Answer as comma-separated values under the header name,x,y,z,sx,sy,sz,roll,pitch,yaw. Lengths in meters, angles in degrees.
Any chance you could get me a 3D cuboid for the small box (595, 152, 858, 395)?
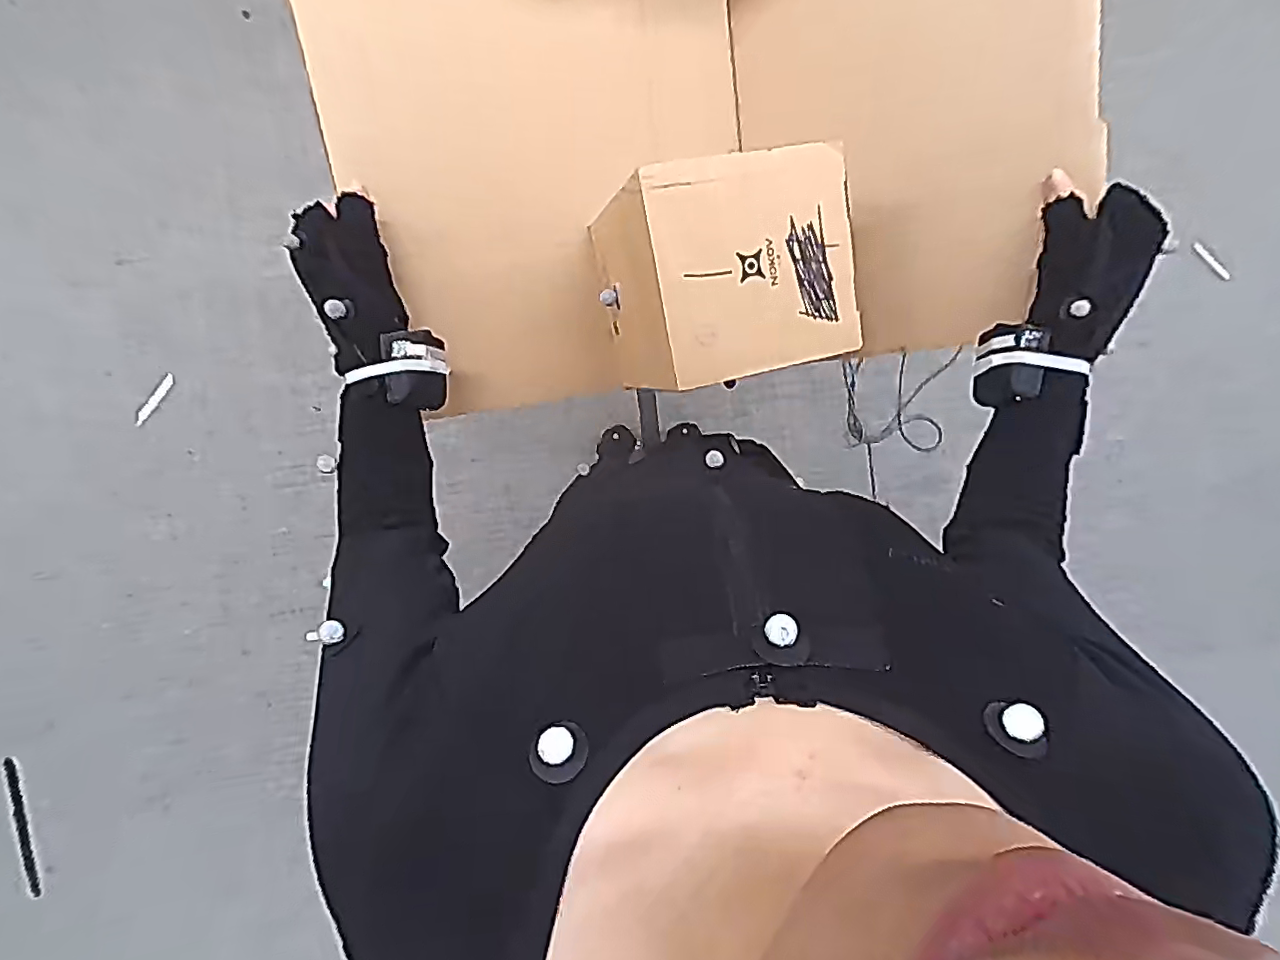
name,x,y,z,sx,sy,sz,roll,pitch,yaw
small box,0.072,-0.181,0.507,0.179,0.176,0.168,-15,104,-13
